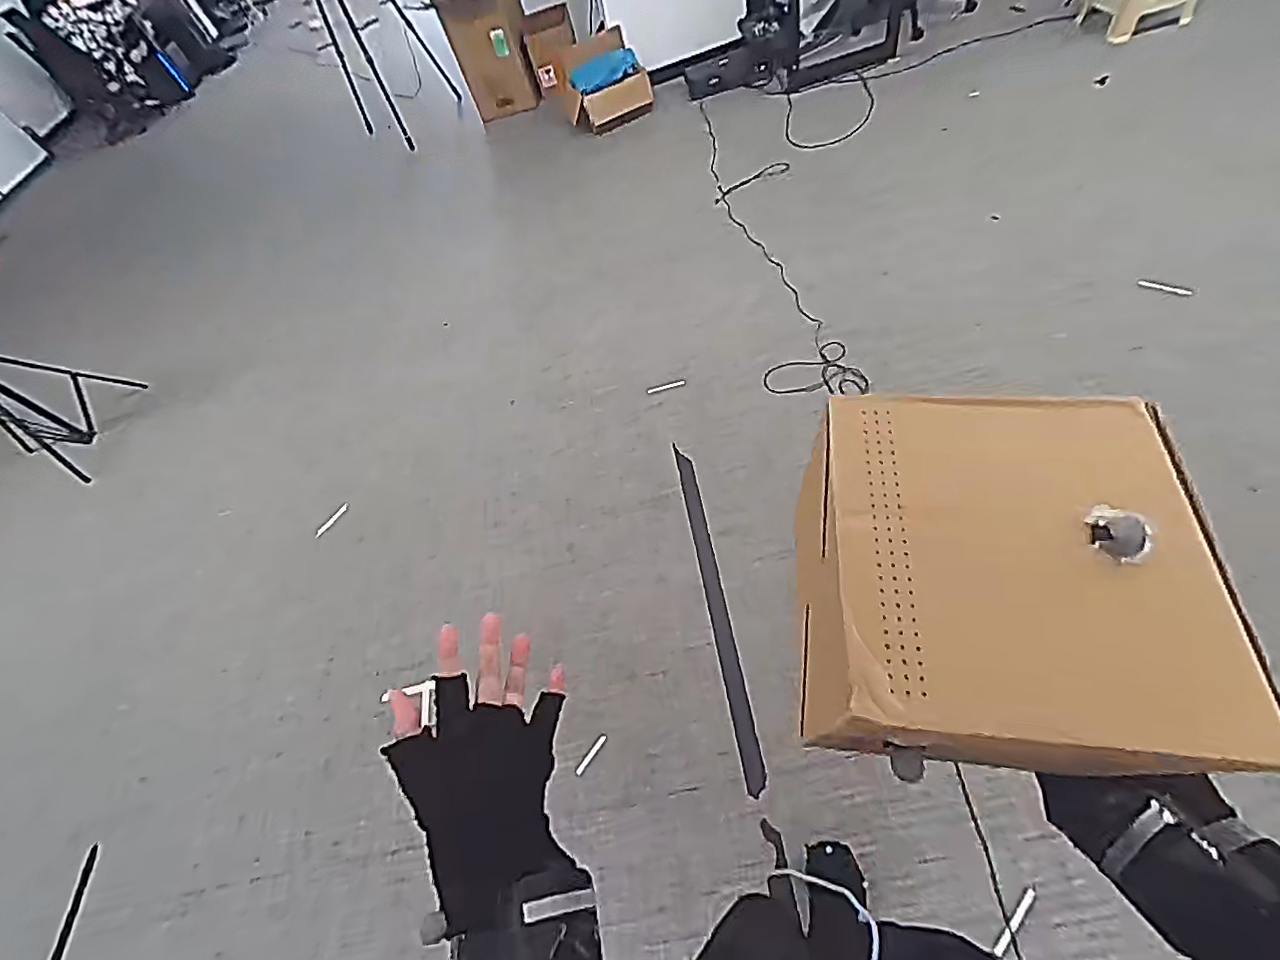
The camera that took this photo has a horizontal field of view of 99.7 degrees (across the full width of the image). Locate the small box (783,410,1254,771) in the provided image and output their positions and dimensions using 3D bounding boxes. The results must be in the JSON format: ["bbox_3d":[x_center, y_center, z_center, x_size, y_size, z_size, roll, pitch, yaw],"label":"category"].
[{"bbox_3d":[0.182,0.073,0.336,0.176,0.168,0.179,1,61,11],"label":"small box"}]
